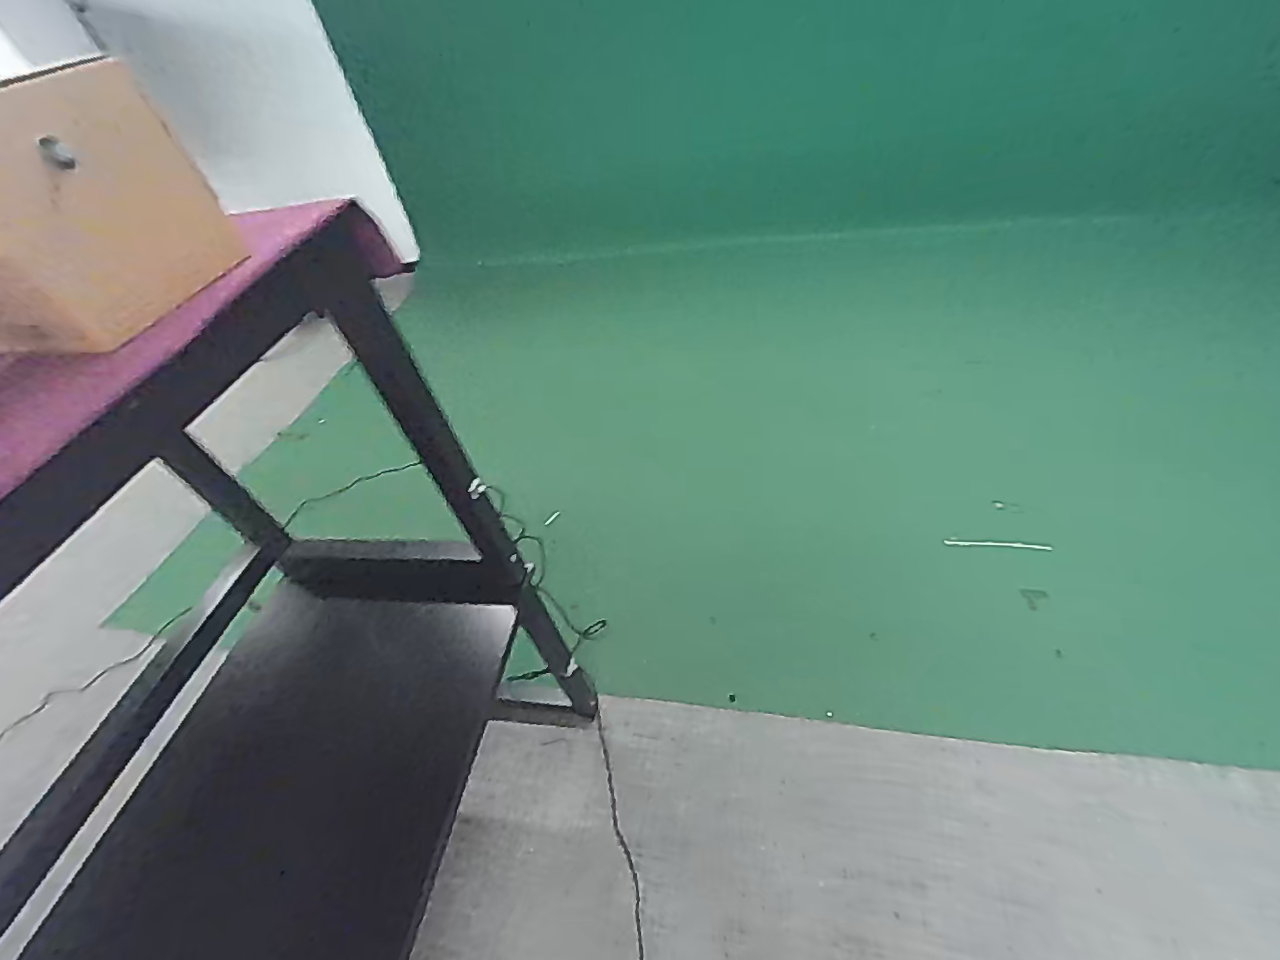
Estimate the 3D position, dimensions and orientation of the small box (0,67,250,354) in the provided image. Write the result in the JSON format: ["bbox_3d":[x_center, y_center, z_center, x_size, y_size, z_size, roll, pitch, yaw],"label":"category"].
[{"bbox_3d":[-0.498,-0.222,0.465,0.168,0.176,0.179,4,48,15],"label":"small box"}]
